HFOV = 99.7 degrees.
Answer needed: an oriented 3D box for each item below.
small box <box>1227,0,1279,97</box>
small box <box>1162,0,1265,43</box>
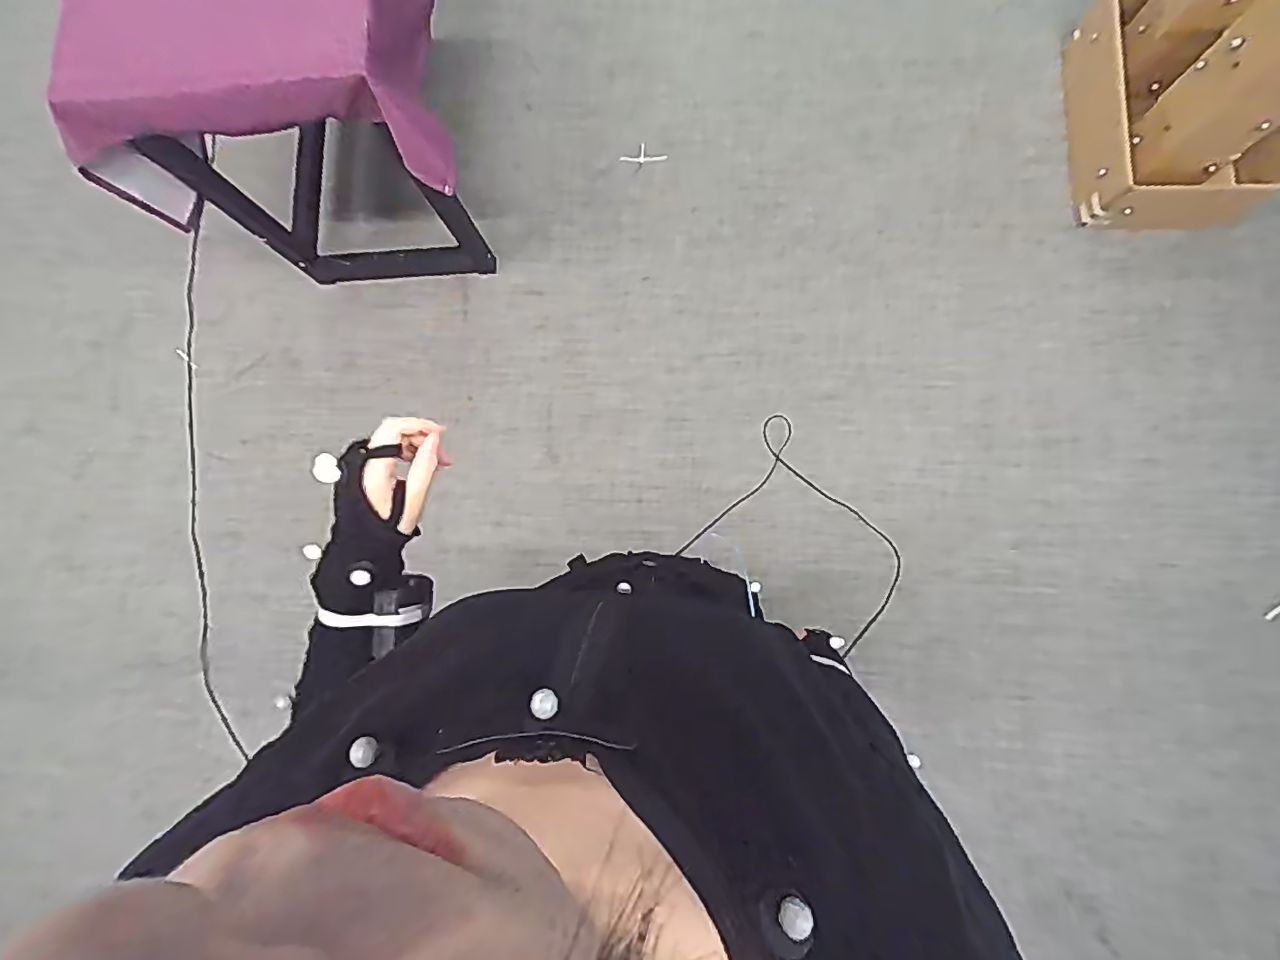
[{"bbox_3d":[1.384,-0.926,1.113,0.179,0.176,0.168,5,82,5],"label":"small box"},{"bbox_3d":[1.426,-1.209,1.309,0.179,0.176,0.168,8,84,4],"label":"small box"}]
